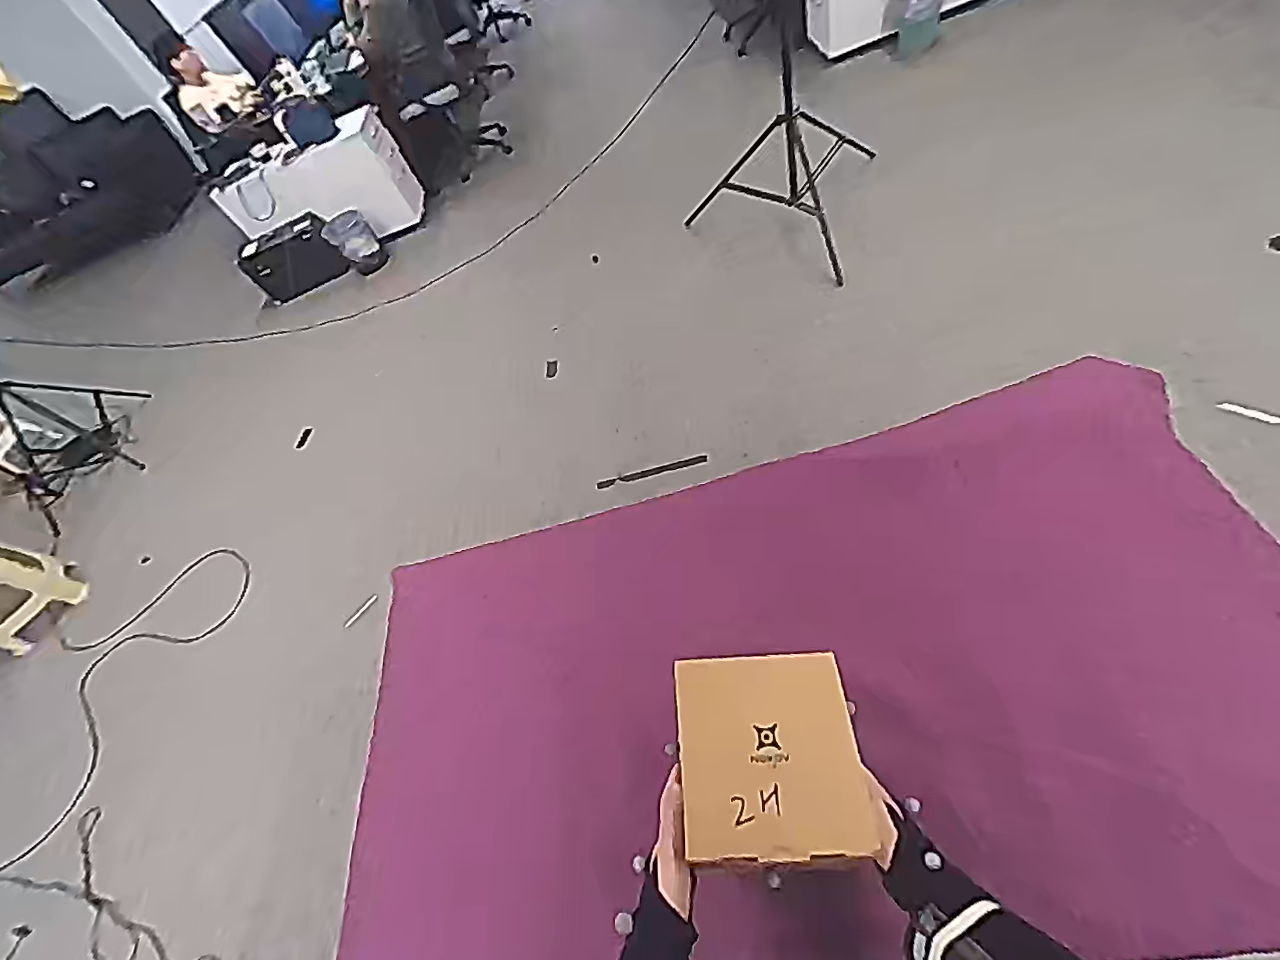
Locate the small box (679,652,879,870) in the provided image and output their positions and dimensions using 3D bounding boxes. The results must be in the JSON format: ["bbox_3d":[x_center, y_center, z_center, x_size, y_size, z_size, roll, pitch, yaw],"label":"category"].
[{"bbox_3d":[0.128,0.300,0.573,0.168,0.176,0.179,-4,51,4],"label":"small box"}]
